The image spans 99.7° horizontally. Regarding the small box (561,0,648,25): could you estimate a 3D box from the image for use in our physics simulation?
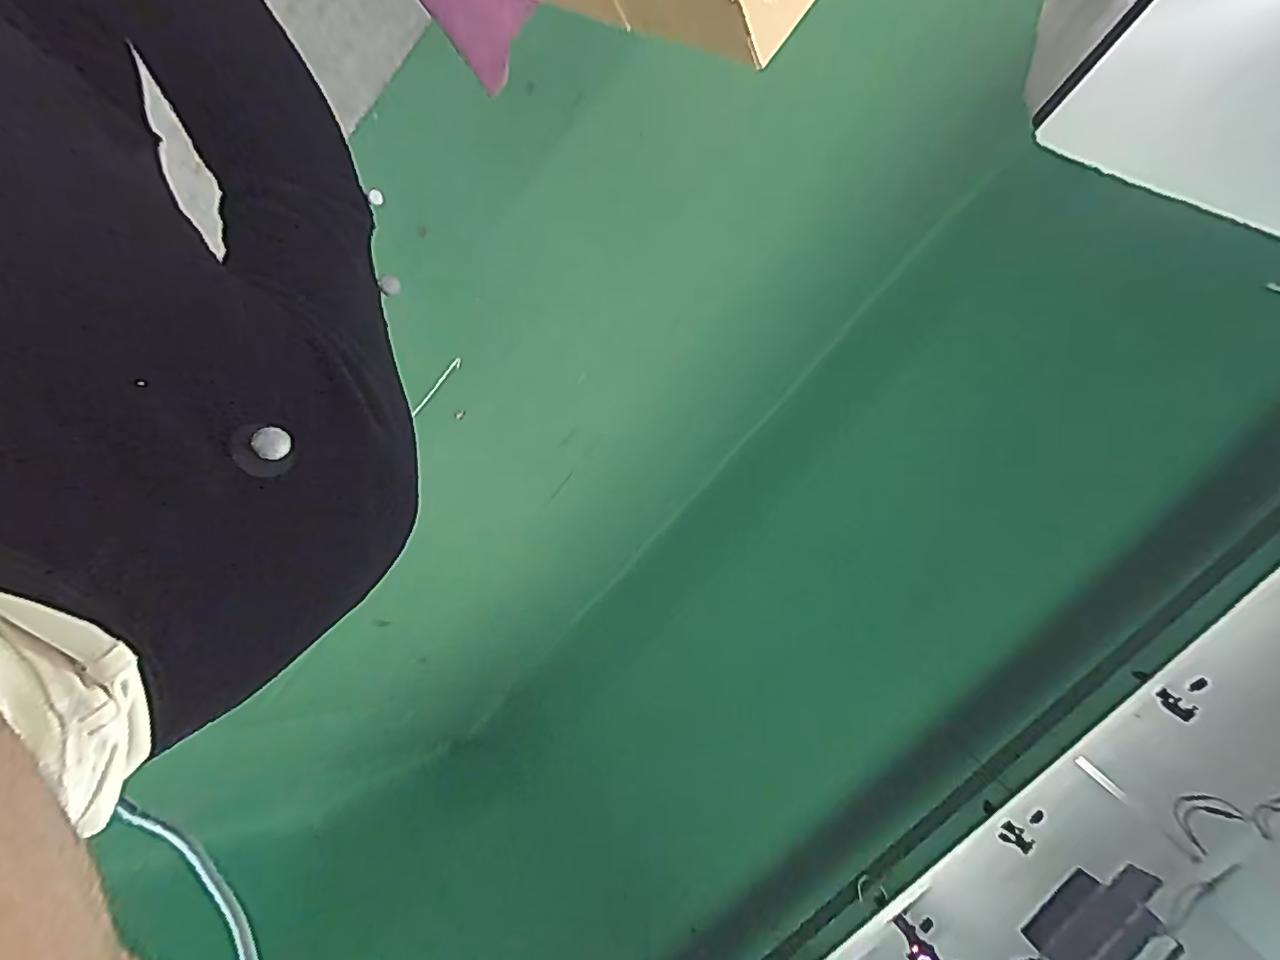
[{"bbox_3d":[-0.040,-0.571,0.480,0.179,0.176,0.168,-47,151,5],"label":"small box"}]
